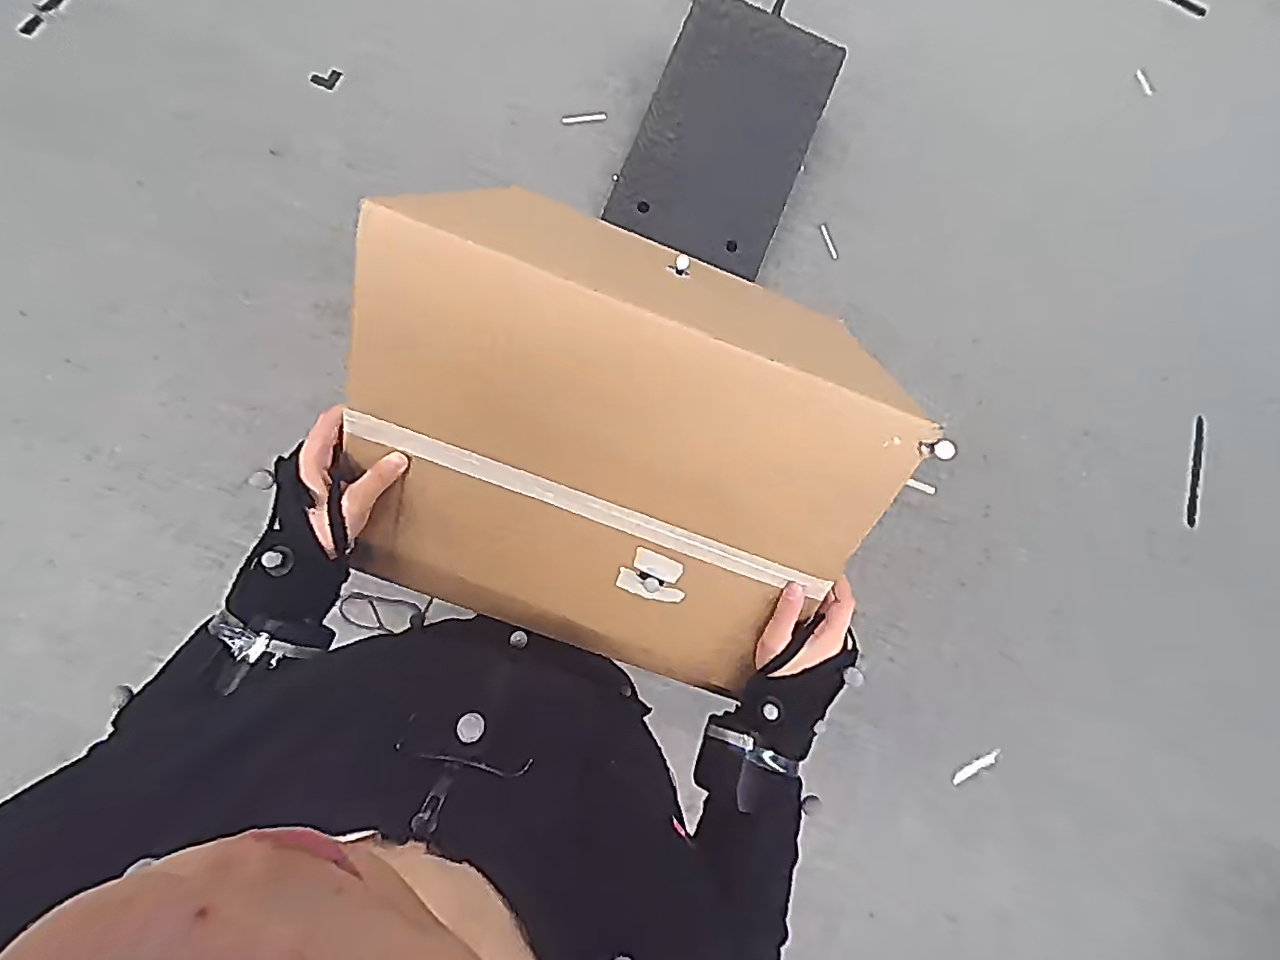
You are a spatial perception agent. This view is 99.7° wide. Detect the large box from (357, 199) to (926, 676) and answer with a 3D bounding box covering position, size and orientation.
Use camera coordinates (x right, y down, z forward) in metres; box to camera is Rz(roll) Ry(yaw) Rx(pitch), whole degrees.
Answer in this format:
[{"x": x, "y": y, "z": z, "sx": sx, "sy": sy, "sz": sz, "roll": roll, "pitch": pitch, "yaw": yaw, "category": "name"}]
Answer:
[{"x": -0.017, "y": -0.063, "z": 0.569, "sx": 0.408, "sy": 0.320, "sz": 0.320, "roll": 19, "pitch": 122, "yaw": -5, "category": "large box"}]
